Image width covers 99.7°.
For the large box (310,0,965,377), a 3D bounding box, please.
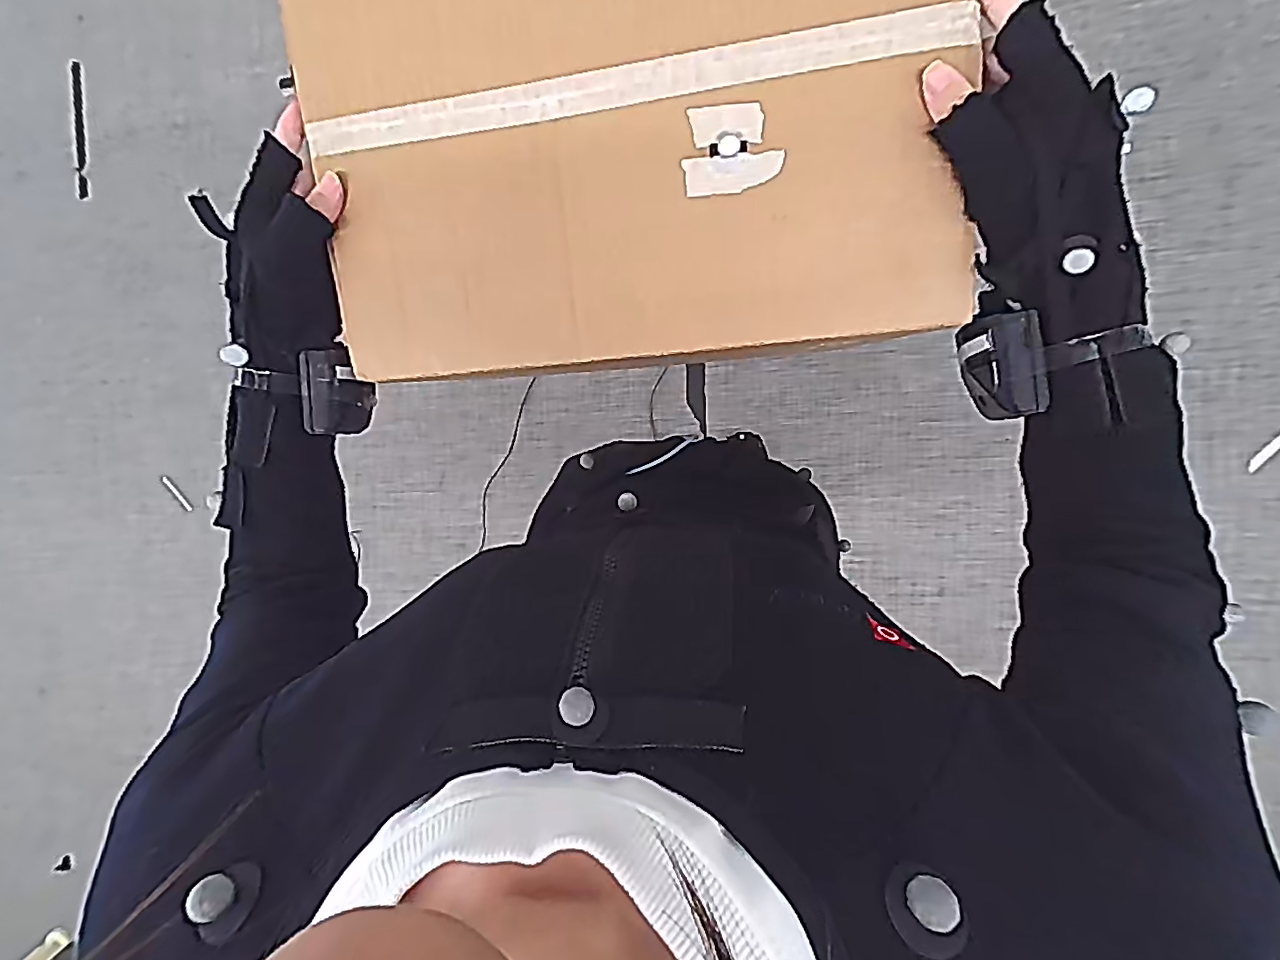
[{"bbox_3d":[0.007,-0.269,0.482,0.408,0.320,0.320,-4,101,8],"label":"large box"}]
